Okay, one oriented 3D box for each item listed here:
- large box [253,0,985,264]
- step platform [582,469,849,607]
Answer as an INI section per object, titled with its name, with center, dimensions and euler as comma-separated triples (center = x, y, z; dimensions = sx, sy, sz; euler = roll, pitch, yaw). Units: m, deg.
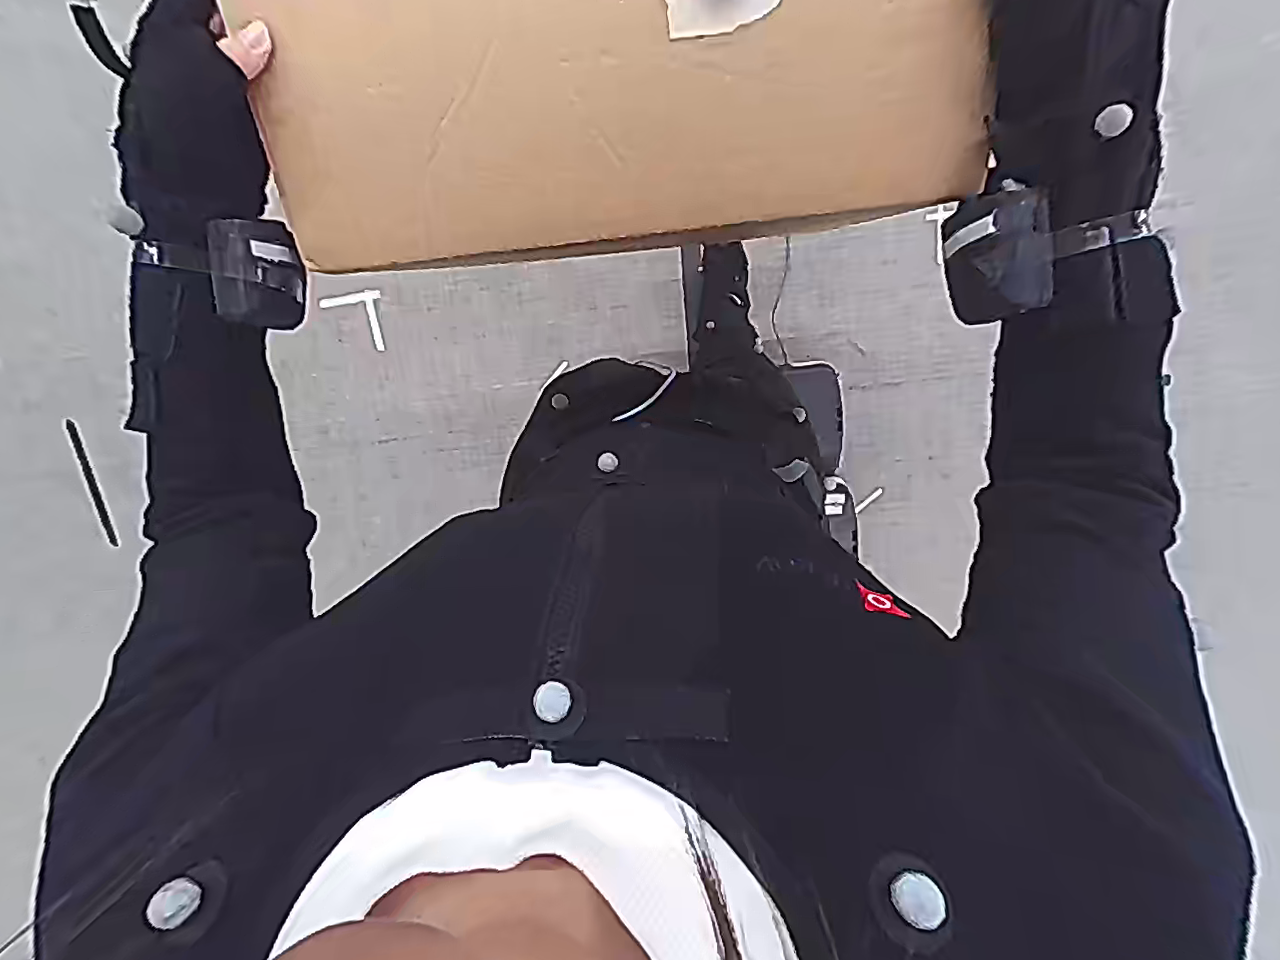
[large box]
center = -0.012, -0.356, 0.414
dimensions = 0.408, 0.320, 0.320
euler = -4, 113, 8
[step platform]
center = 0.190, 0.157, 1.435
dimensions = 0.684, 0.204, 0.286
euler = -6, 102, 8
